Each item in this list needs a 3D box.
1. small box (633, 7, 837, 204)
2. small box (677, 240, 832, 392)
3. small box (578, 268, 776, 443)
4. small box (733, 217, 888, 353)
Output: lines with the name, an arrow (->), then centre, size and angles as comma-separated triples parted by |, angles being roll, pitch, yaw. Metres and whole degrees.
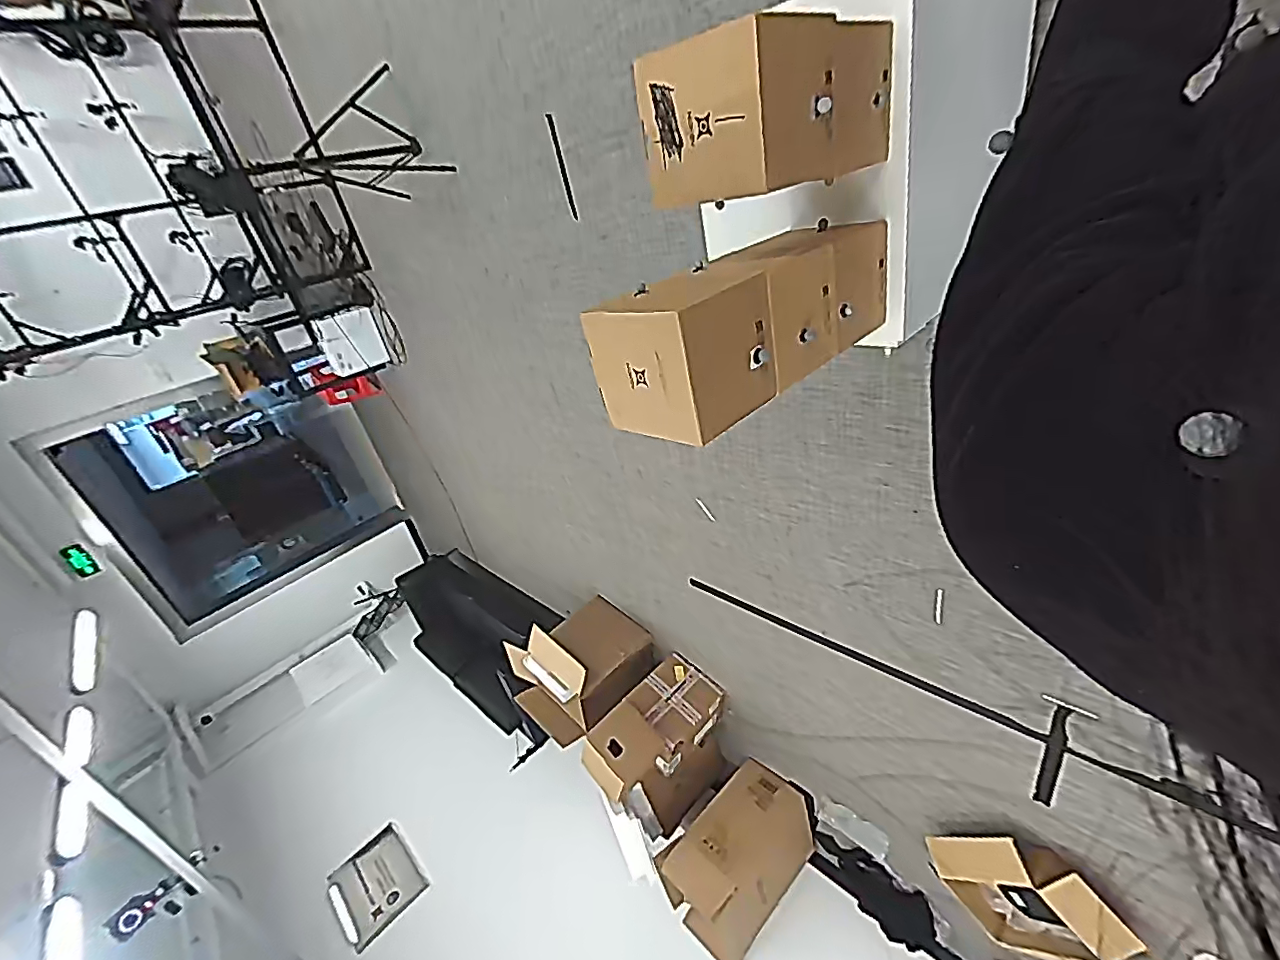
small box -> 0.121, -0.452, 0.668 | 0.179, 0.176, 0.168 | 19, 133, 42
small box -> 0.168, -0.243, 0.794 | 0.179, 0.176, 0.168 | 17, 131, 45
small box -> 0.052, -0.168, 0.707 | 0.179, 0.176, 0.168 | 16, 131, 44
small box -> 0.279, -0.319, 0.884 | 0.179, 0.176, 0.168 | 18, 132, 45
